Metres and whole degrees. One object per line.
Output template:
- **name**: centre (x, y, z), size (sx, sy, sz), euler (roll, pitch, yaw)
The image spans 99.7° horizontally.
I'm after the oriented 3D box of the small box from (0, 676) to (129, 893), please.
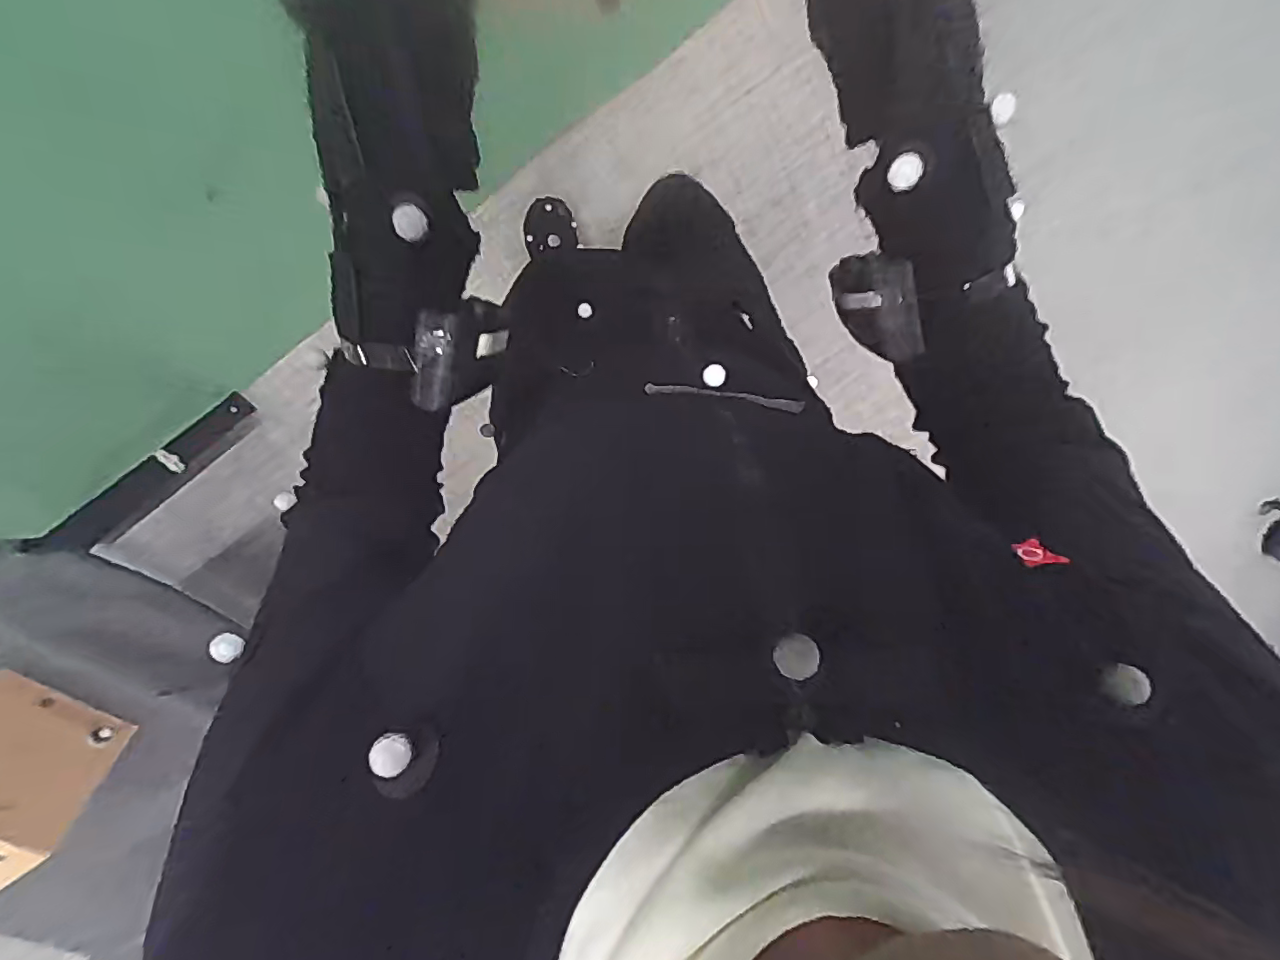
- **small box**: centre (-0.778, 0.369, 0.644), size (0.179, 0.176, 0.168), euler (-33, 121, 9)
